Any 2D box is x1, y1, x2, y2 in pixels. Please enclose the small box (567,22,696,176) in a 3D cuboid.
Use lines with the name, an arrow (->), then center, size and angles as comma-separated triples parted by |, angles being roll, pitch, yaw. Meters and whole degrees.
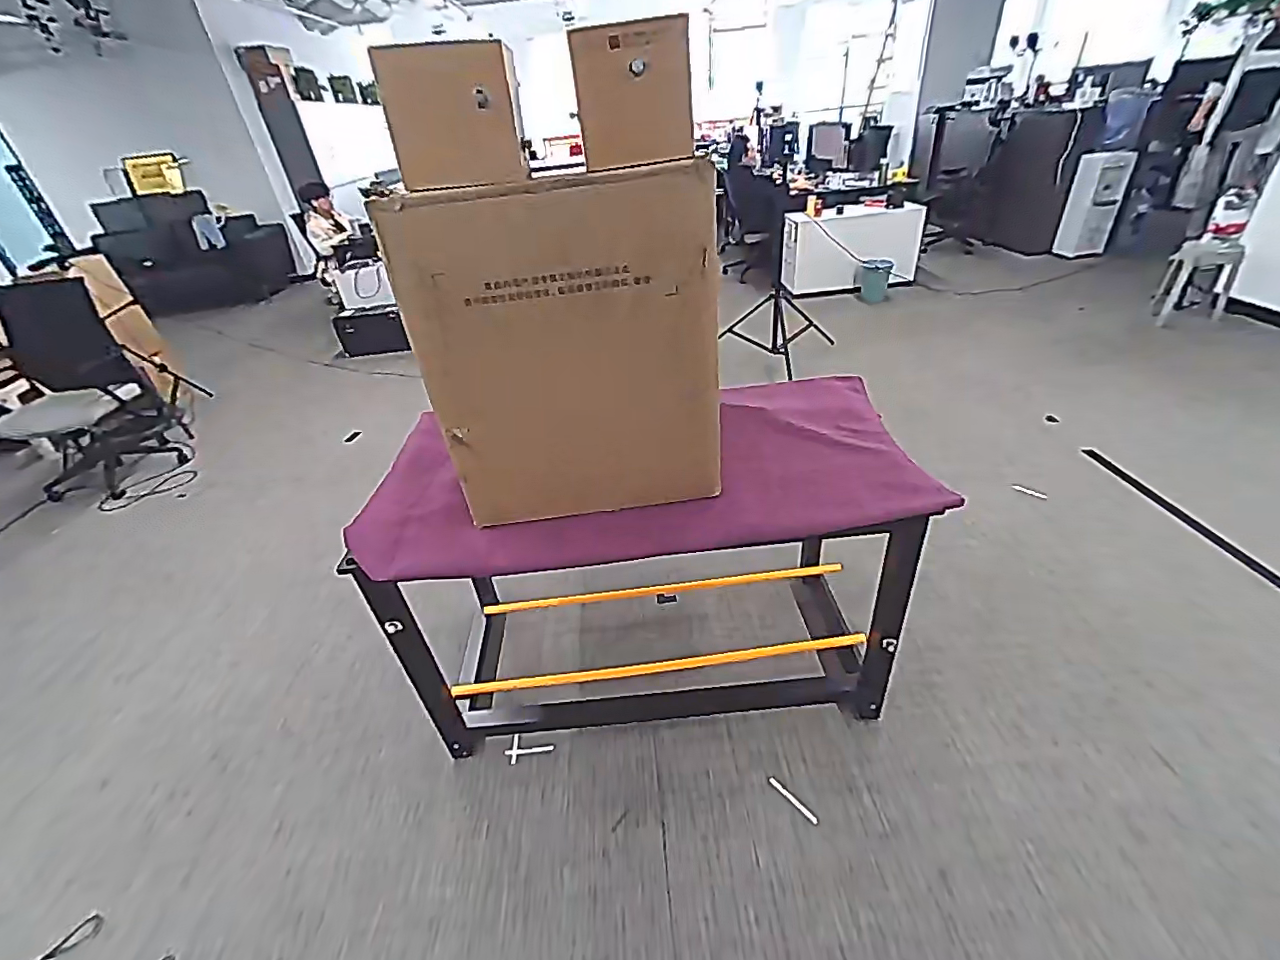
small box -> -0.014, -0.576, 0.824 | 0.168, 0.176, 0.179 | -9, 34, -1
